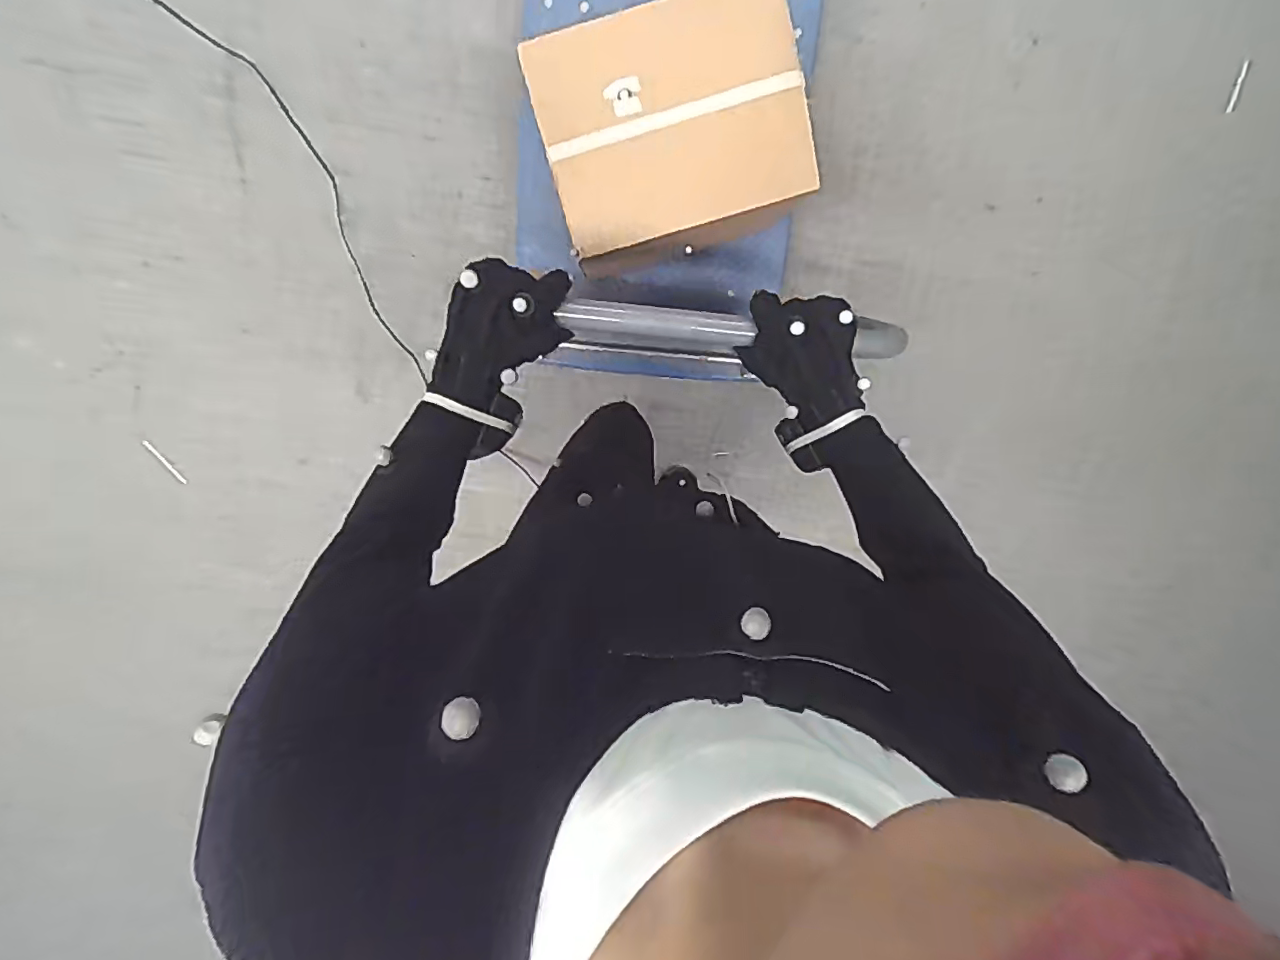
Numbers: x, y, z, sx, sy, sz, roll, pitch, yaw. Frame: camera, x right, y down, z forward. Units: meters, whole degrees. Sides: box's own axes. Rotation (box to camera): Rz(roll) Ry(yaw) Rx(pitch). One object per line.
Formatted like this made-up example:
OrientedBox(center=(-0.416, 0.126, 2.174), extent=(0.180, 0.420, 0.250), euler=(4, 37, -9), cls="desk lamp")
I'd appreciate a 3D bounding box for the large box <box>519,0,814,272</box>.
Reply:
OrientedBox(center=(0.045, -0.598, 0.972), extent=(0.408, 0.320, 0.320), euler=(-15, 104, 2), cls="large box")
